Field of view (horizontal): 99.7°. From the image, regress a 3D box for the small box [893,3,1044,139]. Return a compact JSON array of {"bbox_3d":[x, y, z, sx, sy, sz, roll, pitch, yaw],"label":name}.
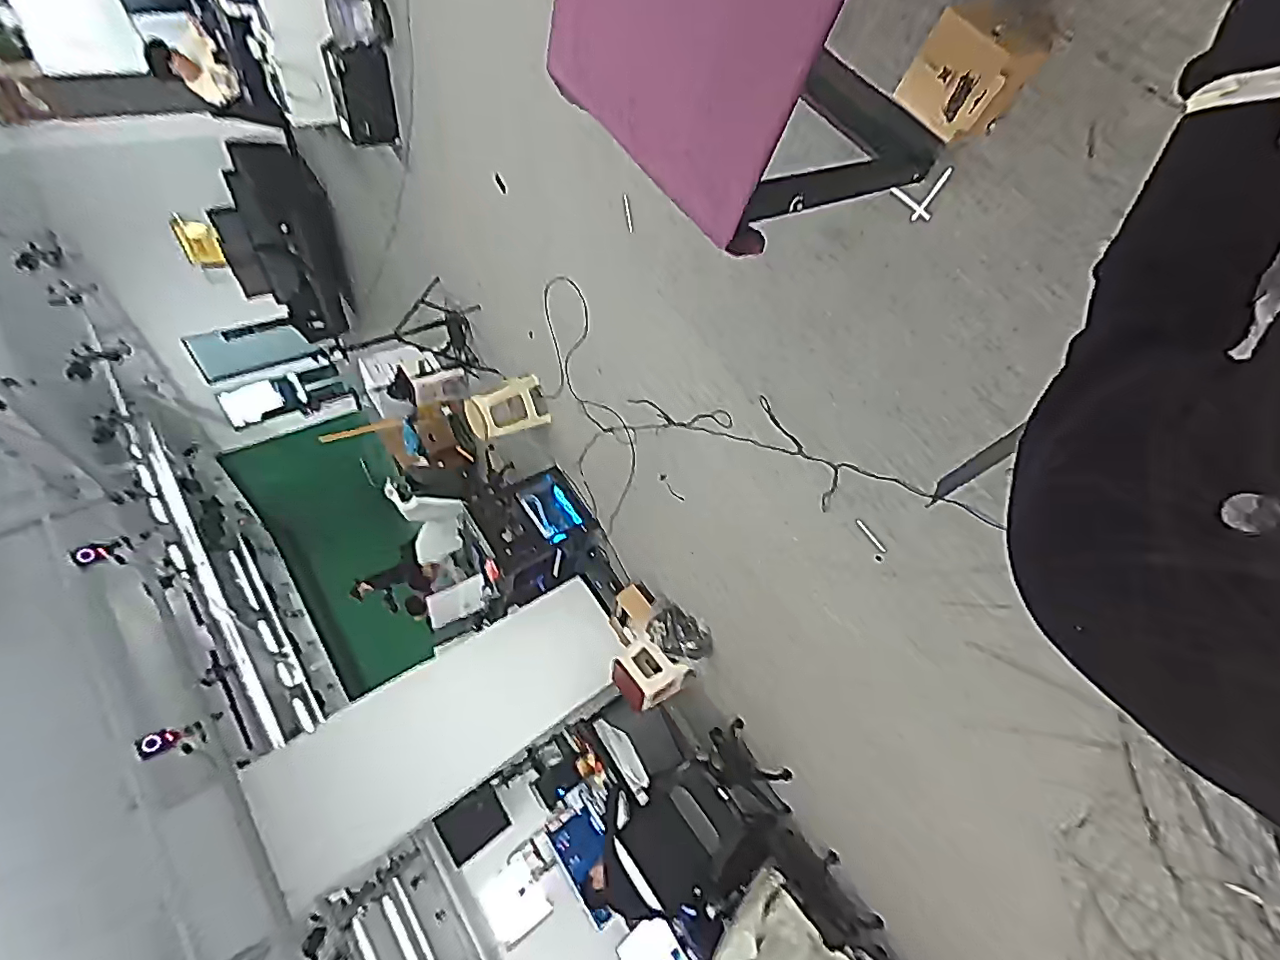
[{"bbox_3d":[0.683,-0.851,1.125,0.179,0.176,0.168,55,150,16],"label":"small box"}]
